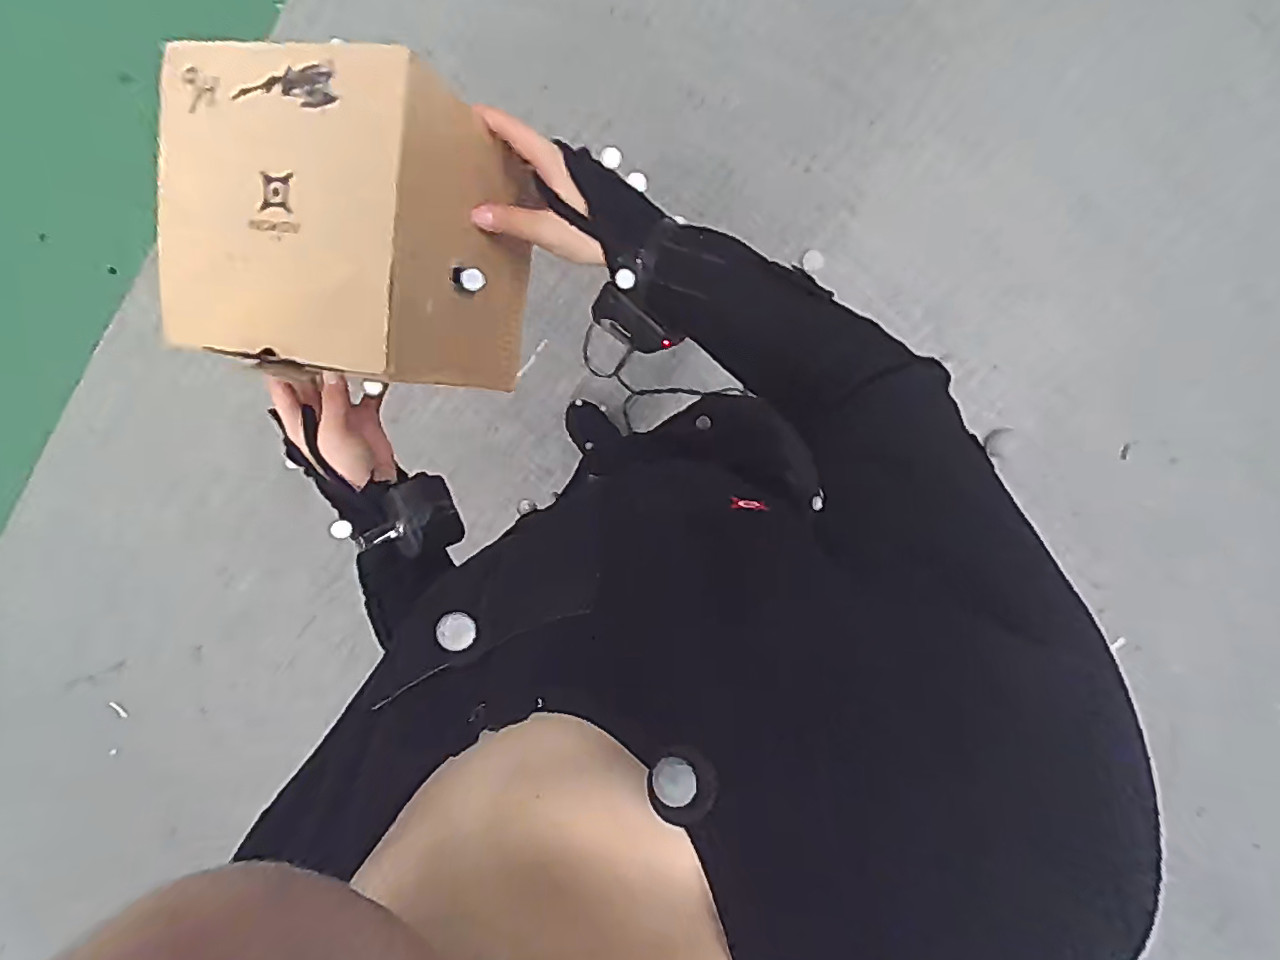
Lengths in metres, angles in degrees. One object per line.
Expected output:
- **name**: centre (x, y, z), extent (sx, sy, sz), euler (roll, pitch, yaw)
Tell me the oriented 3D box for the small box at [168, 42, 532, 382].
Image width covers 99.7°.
- **small box**: centre (-0.192, -0.170, 0.395), extent (0.168, 0.176, 0.179), euler (11, 100, 11)
